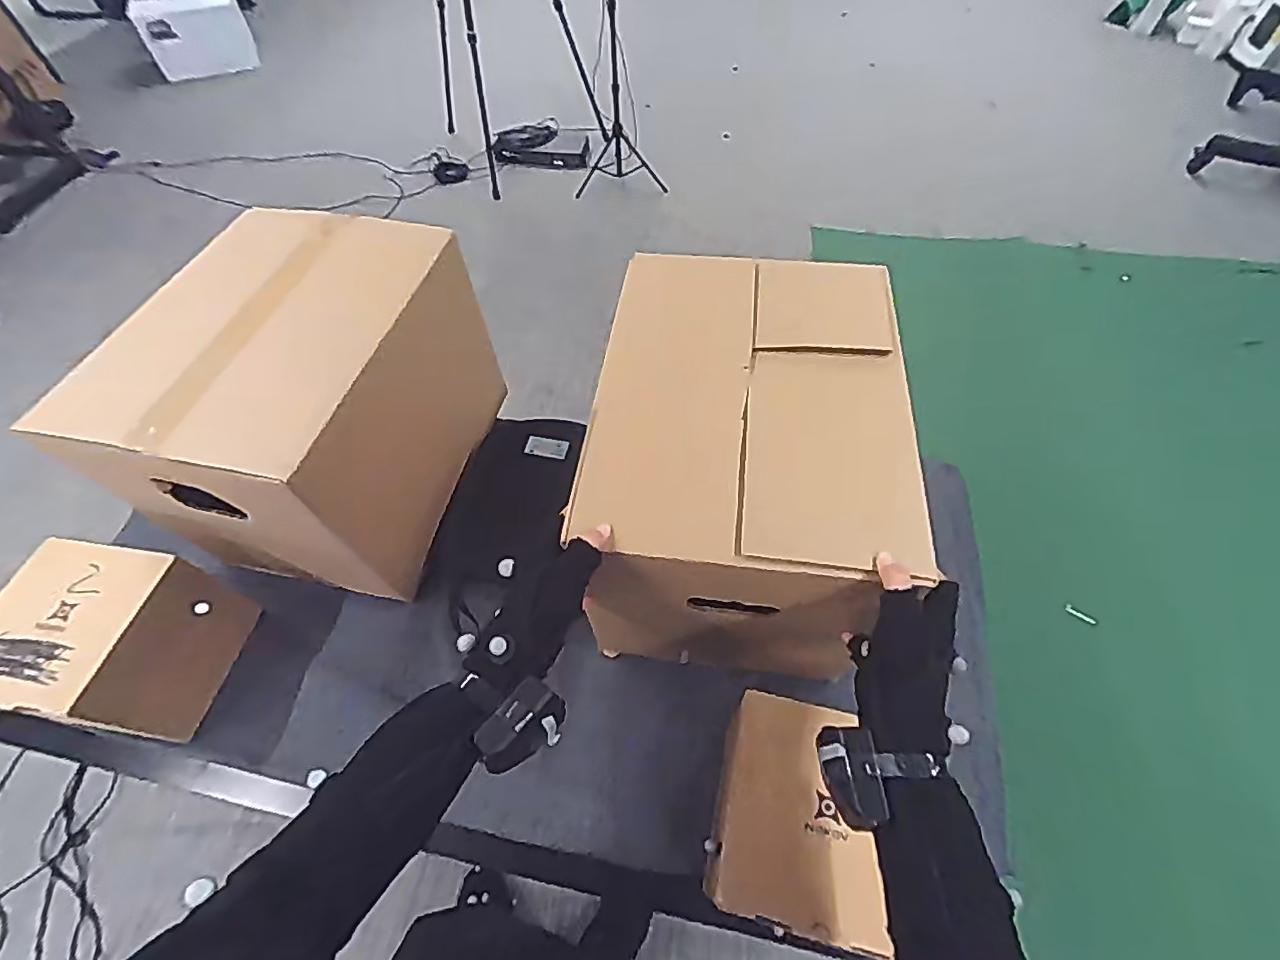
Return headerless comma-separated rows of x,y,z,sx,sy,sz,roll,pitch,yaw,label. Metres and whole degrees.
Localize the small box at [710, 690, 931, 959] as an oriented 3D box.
0.166,0.333,0.535,0.168,0.176,0.179,11,58,9,small box
